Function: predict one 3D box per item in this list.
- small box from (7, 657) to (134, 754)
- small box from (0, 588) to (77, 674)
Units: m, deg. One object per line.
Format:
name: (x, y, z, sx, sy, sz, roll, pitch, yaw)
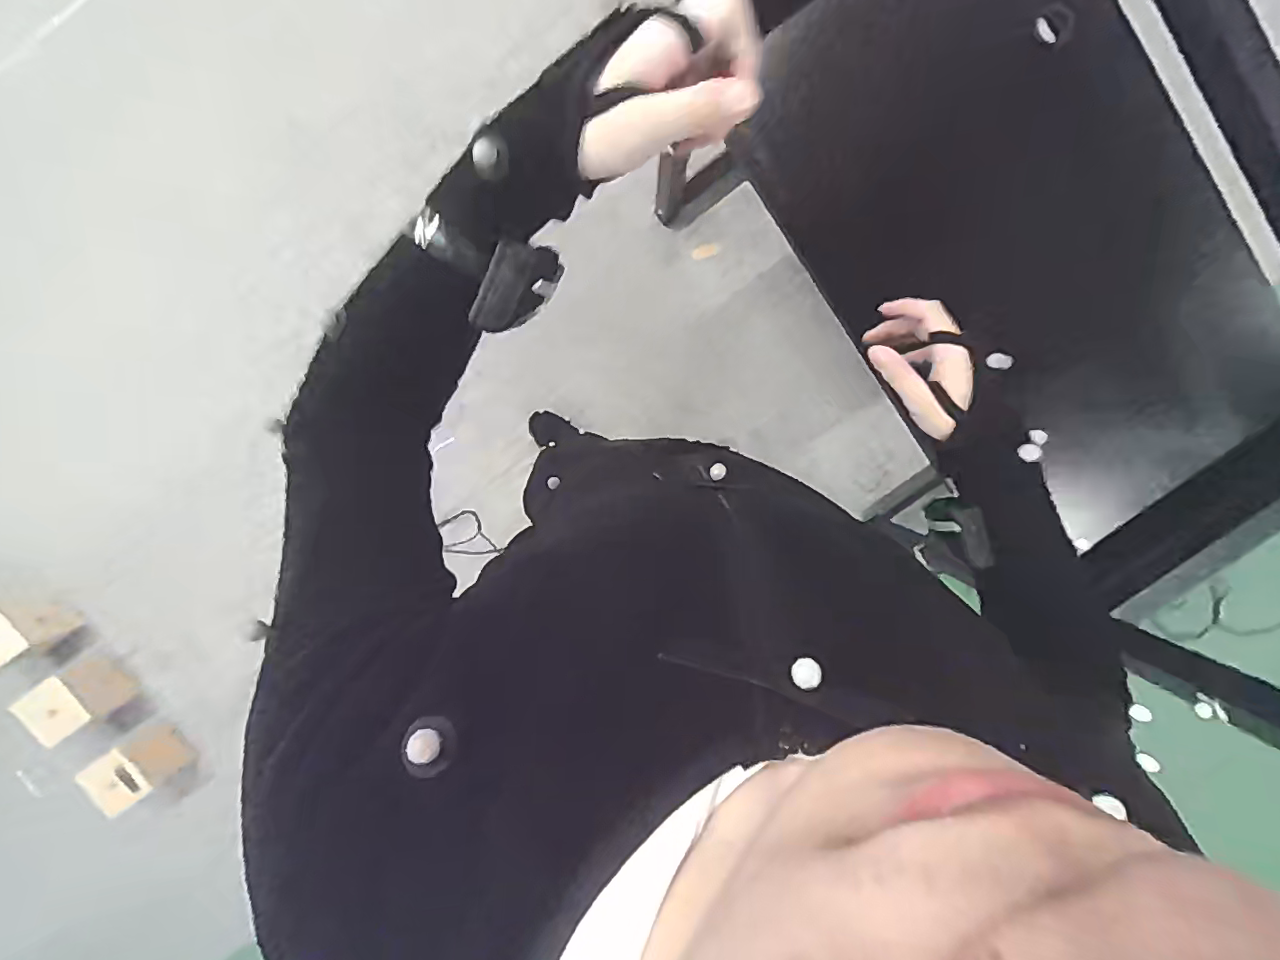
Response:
small box: (-1.680, 0.664, 1.612, 0.179, 0.176, 0.168, -34, 95, 4)
small box: (-1.834, 0.446, 1.588, 0.179, 0.176, 0.168, -34, 96, 4)
